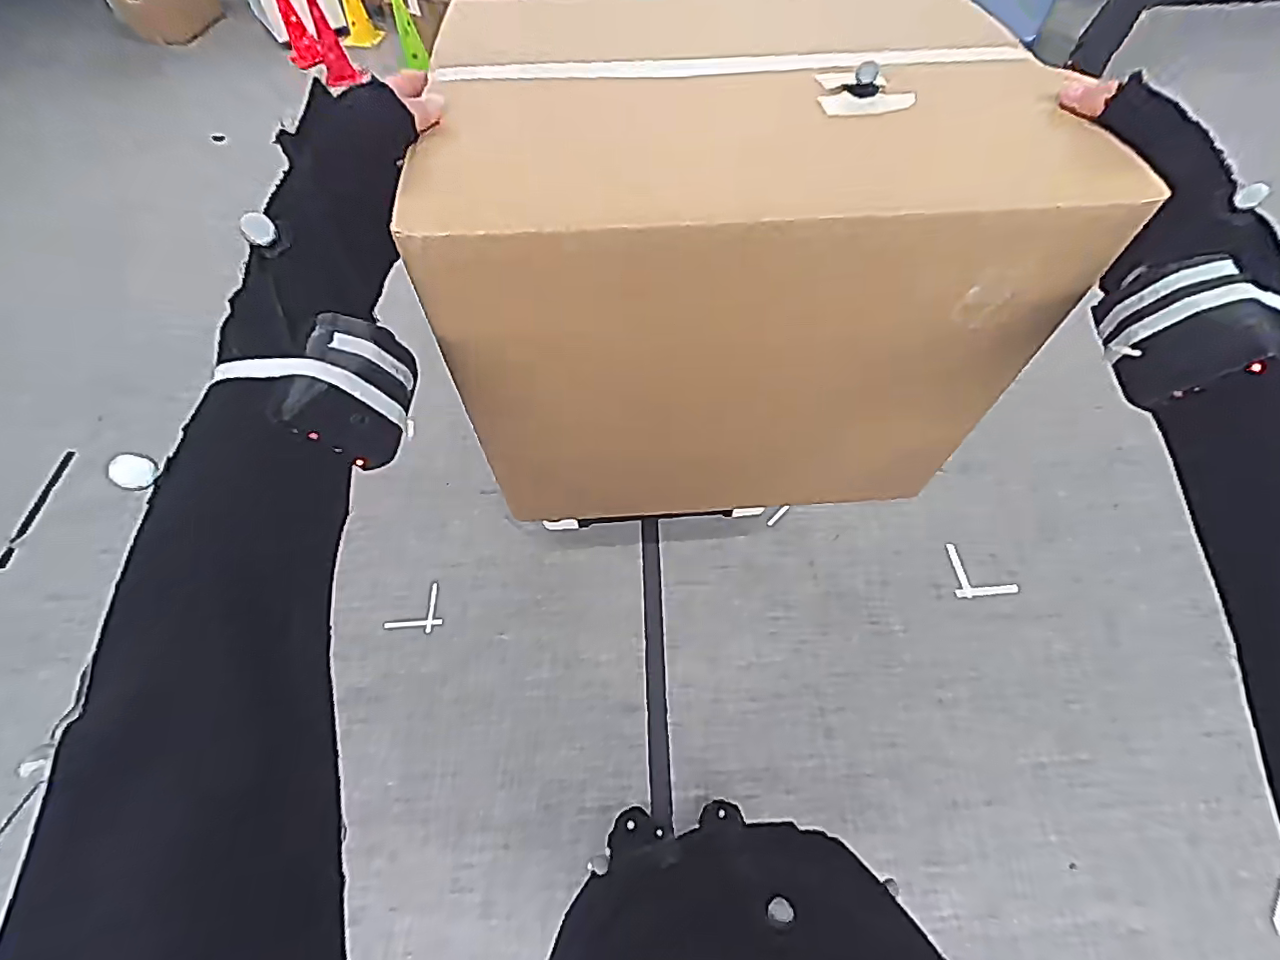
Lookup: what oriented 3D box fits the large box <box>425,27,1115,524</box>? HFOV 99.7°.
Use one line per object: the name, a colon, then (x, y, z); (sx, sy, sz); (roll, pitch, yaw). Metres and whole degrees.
large box: (0.064, -0.174, 0.504); (0.408, 0.320, 0.320); (-3, 58, -3)
